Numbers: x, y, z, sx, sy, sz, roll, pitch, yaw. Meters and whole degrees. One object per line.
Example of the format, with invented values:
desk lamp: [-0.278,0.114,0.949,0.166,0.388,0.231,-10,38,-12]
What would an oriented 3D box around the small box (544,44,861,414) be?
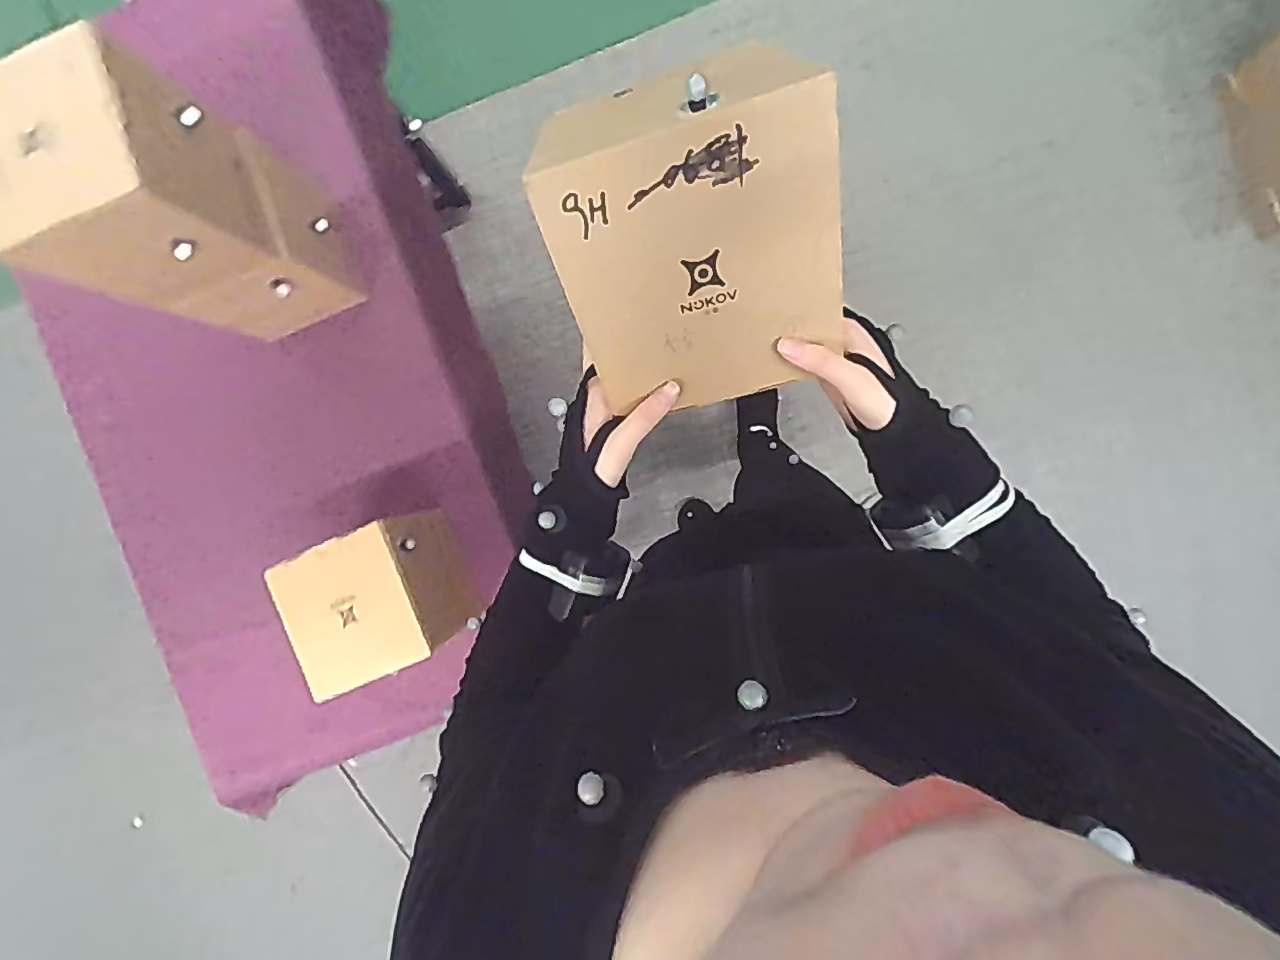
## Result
small box: [0.046,-0.177,0.388,0.168,0.176,0.179,-10,133,8]
